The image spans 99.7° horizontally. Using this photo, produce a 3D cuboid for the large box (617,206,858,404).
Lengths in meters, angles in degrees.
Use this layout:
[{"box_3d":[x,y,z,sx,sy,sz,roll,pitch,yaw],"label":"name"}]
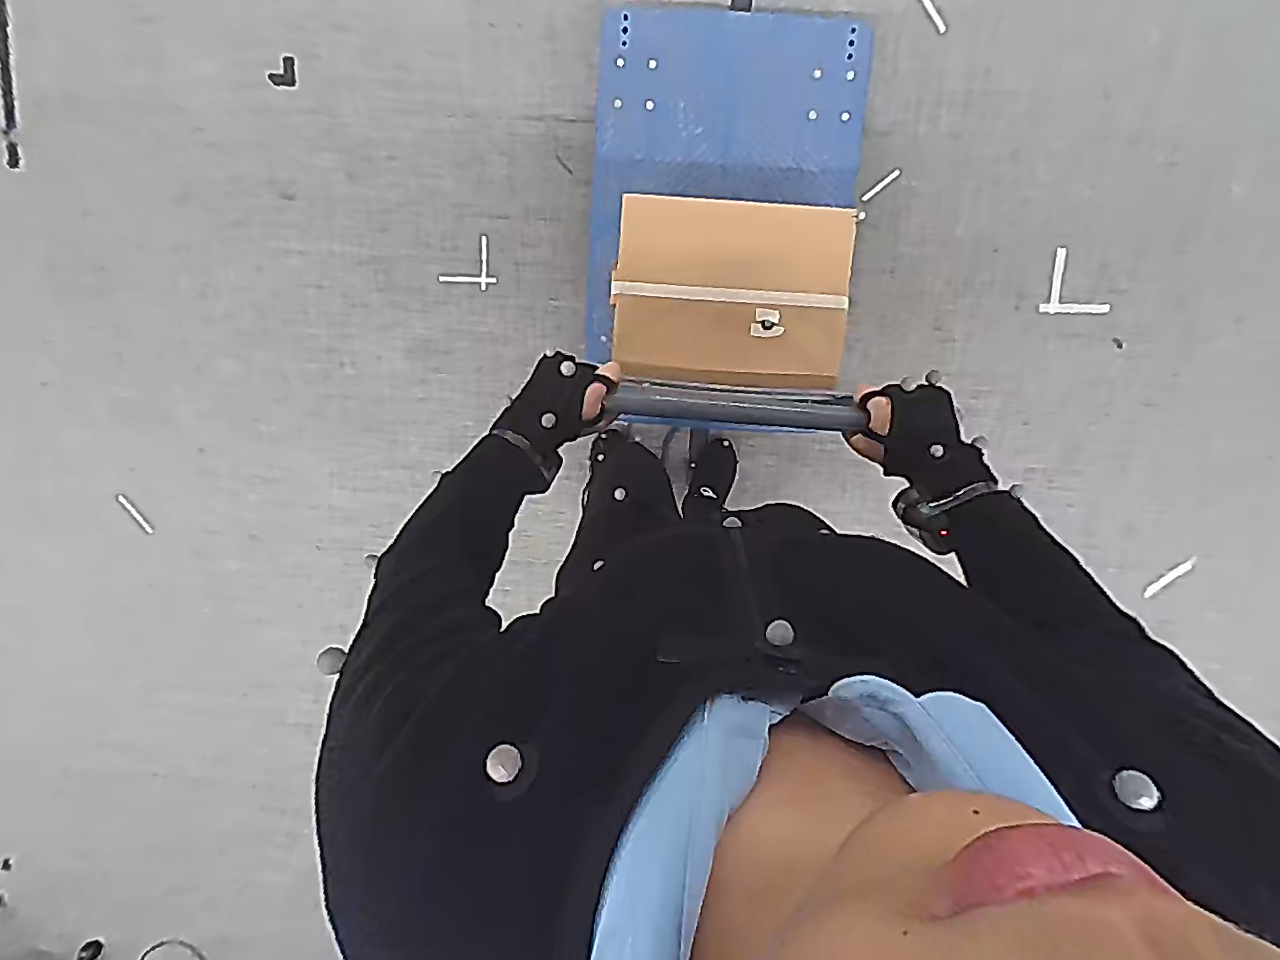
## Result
[{"box_3d":[0.165,-0.321,1.082,0.408,0.320,0.320,4,98,0],"label":"large box"}]
